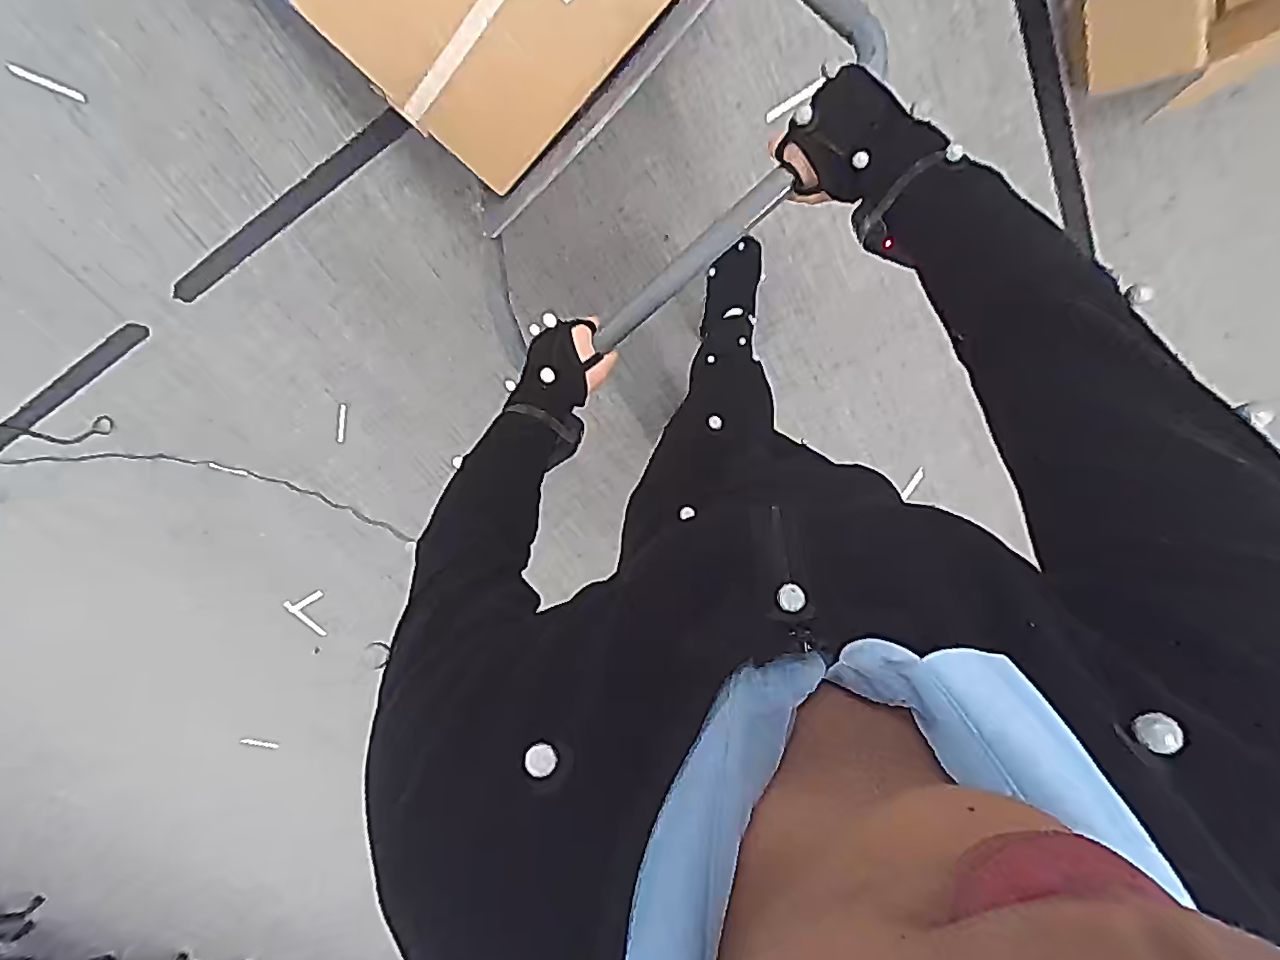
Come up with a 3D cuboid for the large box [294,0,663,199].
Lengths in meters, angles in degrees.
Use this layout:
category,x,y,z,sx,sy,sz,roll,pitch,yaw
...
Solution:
category,x,y,z,sx,sy,sz,roll,pitch,yaw
large box,-0.197,-0.704,0.749,0.408,0.320,0.320,-37,134,24
